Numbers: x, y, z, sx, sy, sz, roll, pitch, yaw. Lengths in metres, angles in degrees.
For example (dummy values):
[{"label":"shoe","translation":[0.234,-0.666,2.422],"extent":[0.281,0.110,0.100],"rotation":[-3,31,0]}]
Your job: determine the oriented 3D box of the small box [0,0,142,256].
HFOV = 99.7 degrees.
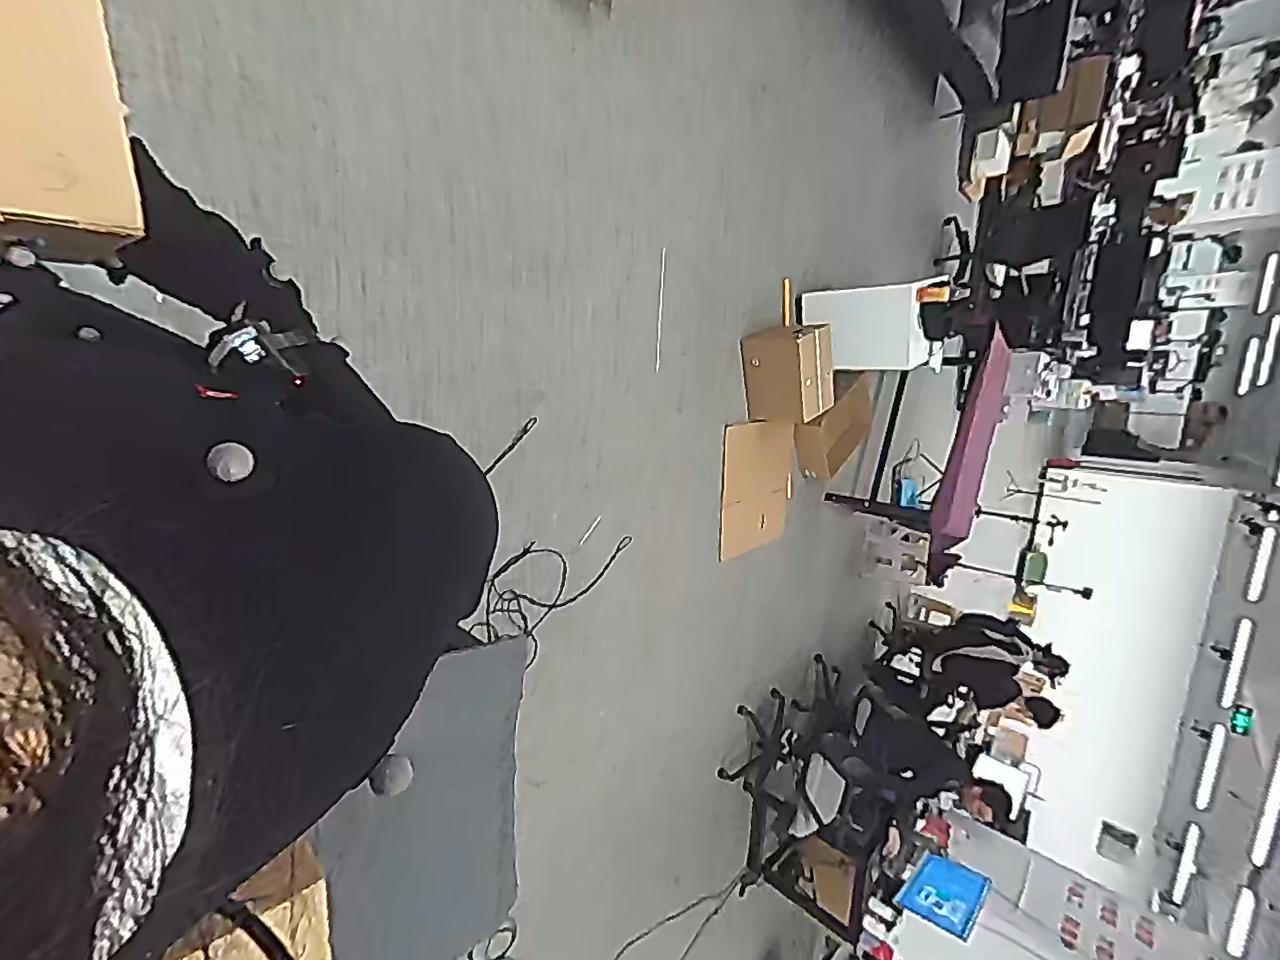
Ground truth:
[{"label":"small box","translation":[-0.417,-0.229,0.294],"extent":[0.168,0.176,0.179],"rotation":[-19,112,-53]}]
